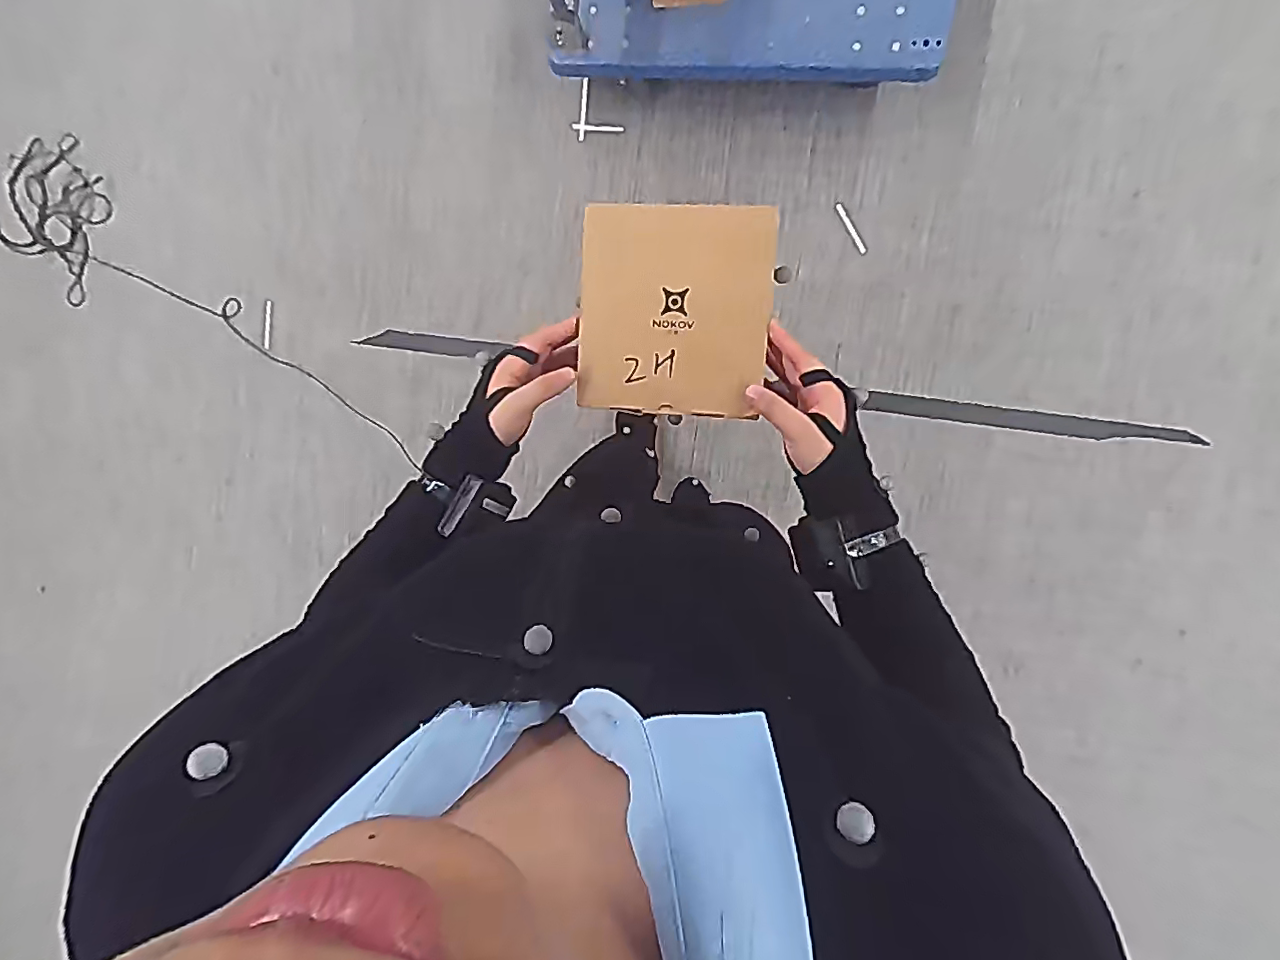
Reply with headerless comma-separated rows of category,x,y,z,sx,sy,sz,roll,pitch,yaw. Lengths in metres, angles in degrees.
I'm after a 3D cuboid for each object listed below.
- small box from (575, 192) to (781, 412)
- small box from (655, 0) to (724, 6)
small box,0.039,-0.163,0.537,0.168,0.176,0.179,5,100,8
small box,0.100,-1.111,1.088,0.168,0.176,0.179,2,97,7
